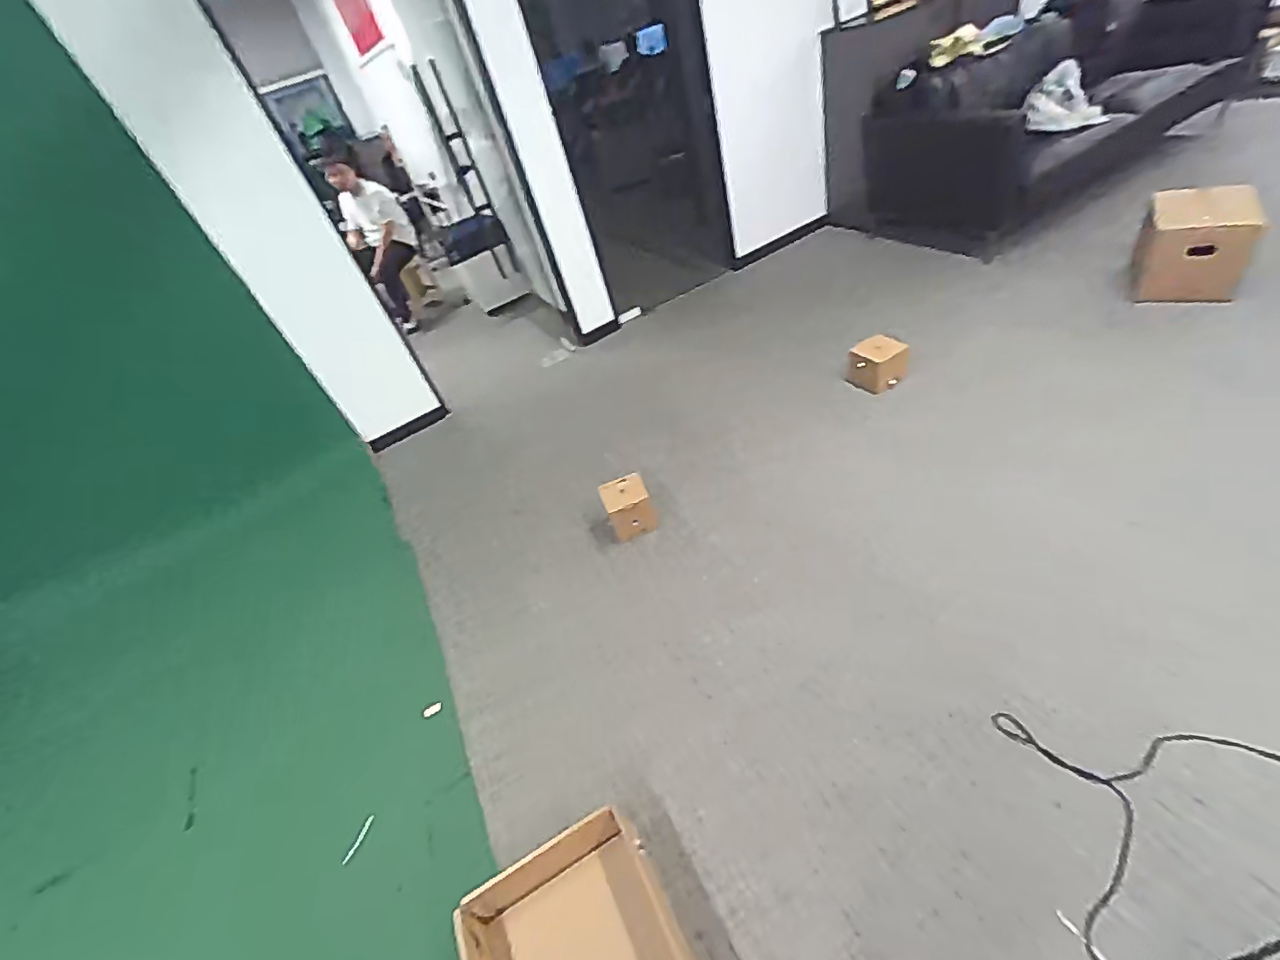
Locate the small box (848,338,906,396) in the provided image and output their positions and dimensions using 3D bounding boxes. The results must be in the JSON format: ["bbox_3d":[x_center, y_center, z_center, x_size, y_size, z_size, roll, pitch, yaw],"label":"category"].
[{"bbox_3d":[1.043,-0.496,2.391,0.168,0.176,0.179,-30,42,-12],"label":"small box"}]

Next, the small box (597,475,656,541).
[{"bbox_3d":[-0.049,0.117,2.109,0.168,0.176,0.179,-22,40,-3],"label":"small box"}]
